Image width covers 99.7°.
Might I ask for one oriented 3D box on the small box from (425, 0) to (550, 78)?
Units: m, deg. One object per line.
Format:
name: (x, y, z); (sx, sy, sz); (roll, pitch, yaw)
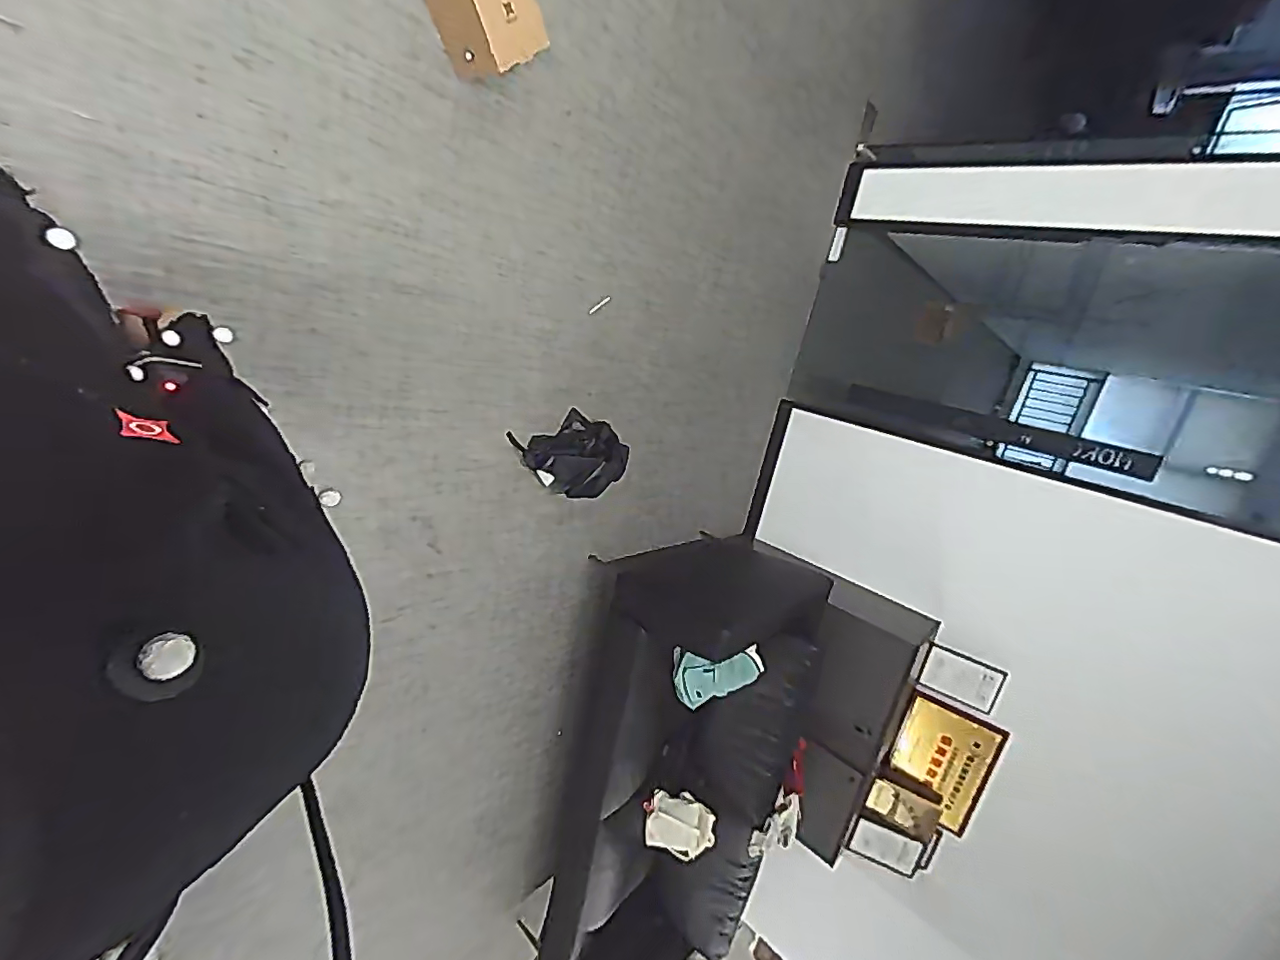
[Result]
small box: (-0.337, -1.014, 1.188); (0.168, 0.176, 0.179); (-48, 140, -23)
